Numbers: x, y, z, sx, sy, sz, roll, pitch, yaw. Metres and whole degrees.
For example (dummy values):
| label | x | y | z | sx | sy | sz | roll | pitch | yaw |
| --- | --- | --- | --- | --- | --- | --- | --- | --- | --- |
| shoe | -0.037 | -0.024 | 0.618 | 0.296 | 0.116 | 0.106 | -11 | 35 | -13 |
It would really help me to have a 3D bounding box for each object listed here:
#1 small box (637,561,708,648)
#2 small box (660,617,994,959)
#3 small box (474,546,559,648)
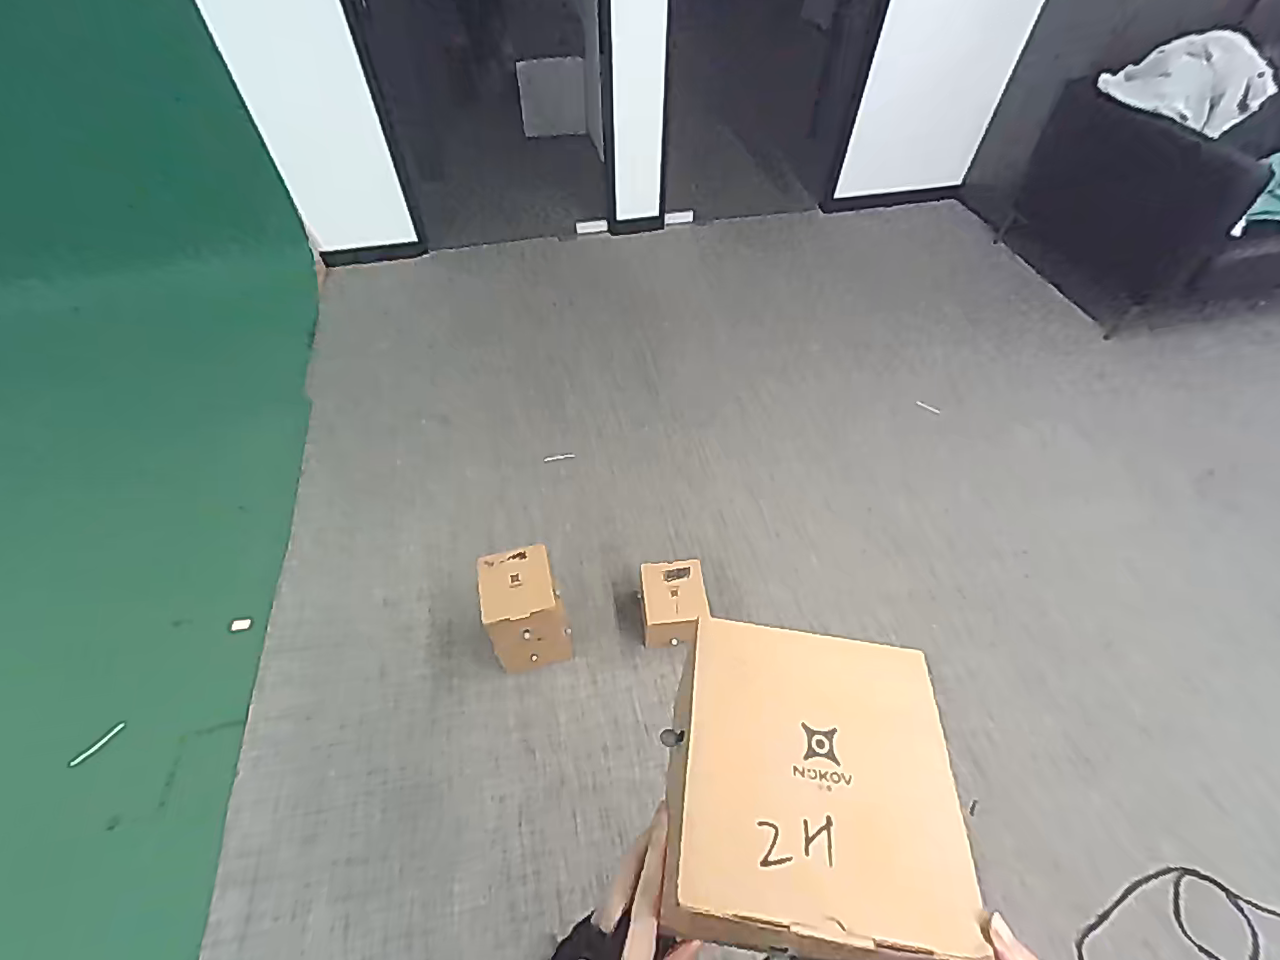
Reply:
| label | x | y | z | sx | sy | sz | roll | pitch | yaw |
| --- | --- | --- | --- | --- | --- | --- | --- | --- | --- |
| small box | 0.081 | 0.341 | 1.480 | 0.168 | 0.176 | 0.179 | -4 | 54 | -5 |
| small box | 0.109 | 0.230 | 0.397 | 0.168 | 0.176 | 0.179 | 8 | 46 | 3 |
| small box | -0.294 | 0.288 | 1.303 | 0.168 | 0.176 | 0.179 | -11 | 54 | -10 |
